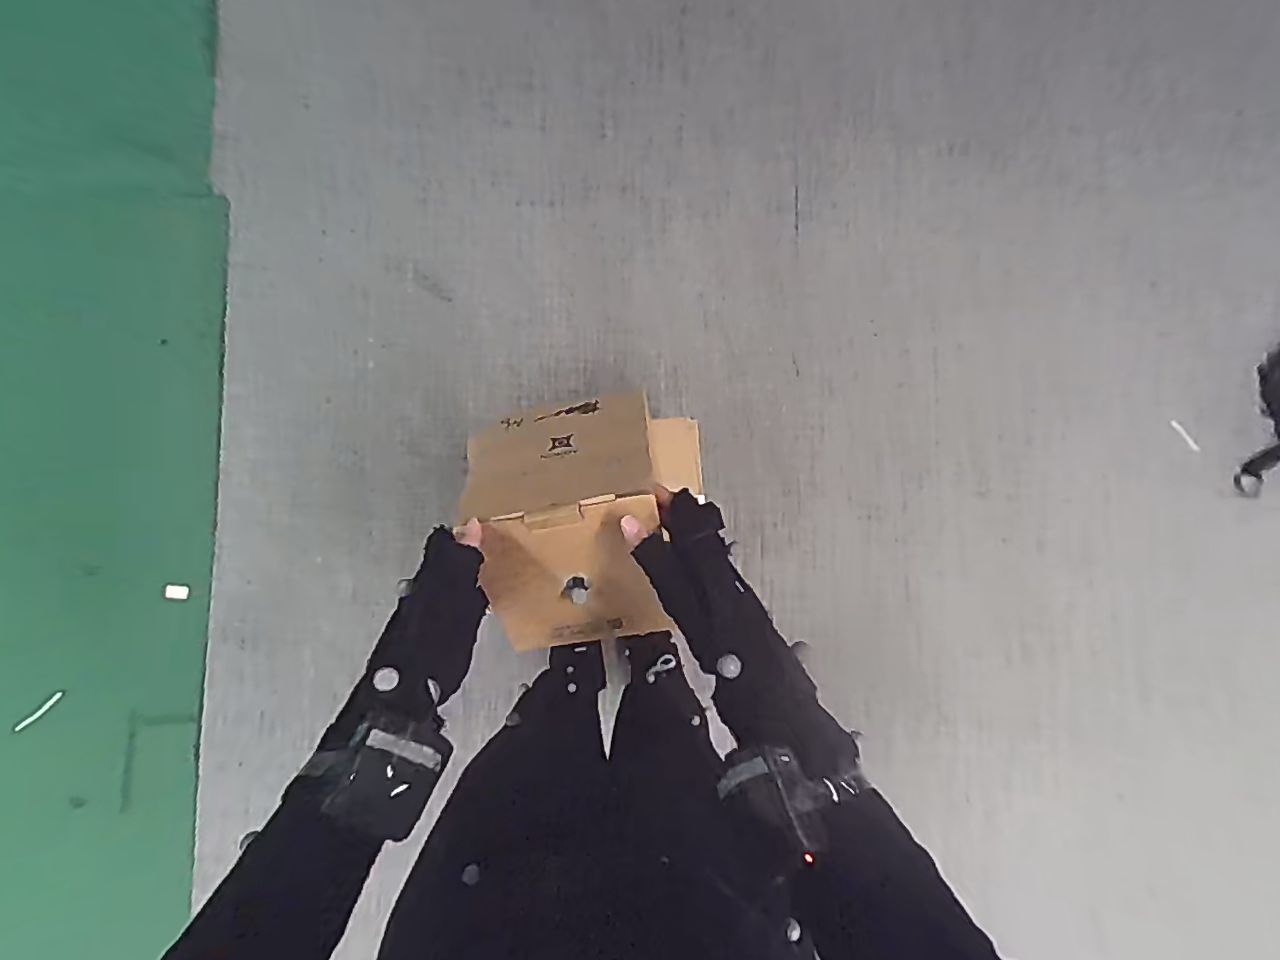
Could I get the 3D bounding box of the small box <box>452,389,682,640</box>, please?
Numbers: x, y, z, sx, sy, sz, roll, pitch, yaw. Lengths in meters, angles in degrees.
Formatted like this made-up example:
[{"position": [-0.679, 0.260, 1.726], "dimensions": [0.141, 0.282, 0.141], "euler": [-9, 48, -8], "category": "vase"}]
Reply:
[{"position": [-0.057, 0.039, 0.528], "dimensions": [0.168, 0.179, 0.176], "euler": [-10, 128, 4], "category": "small box"}]
